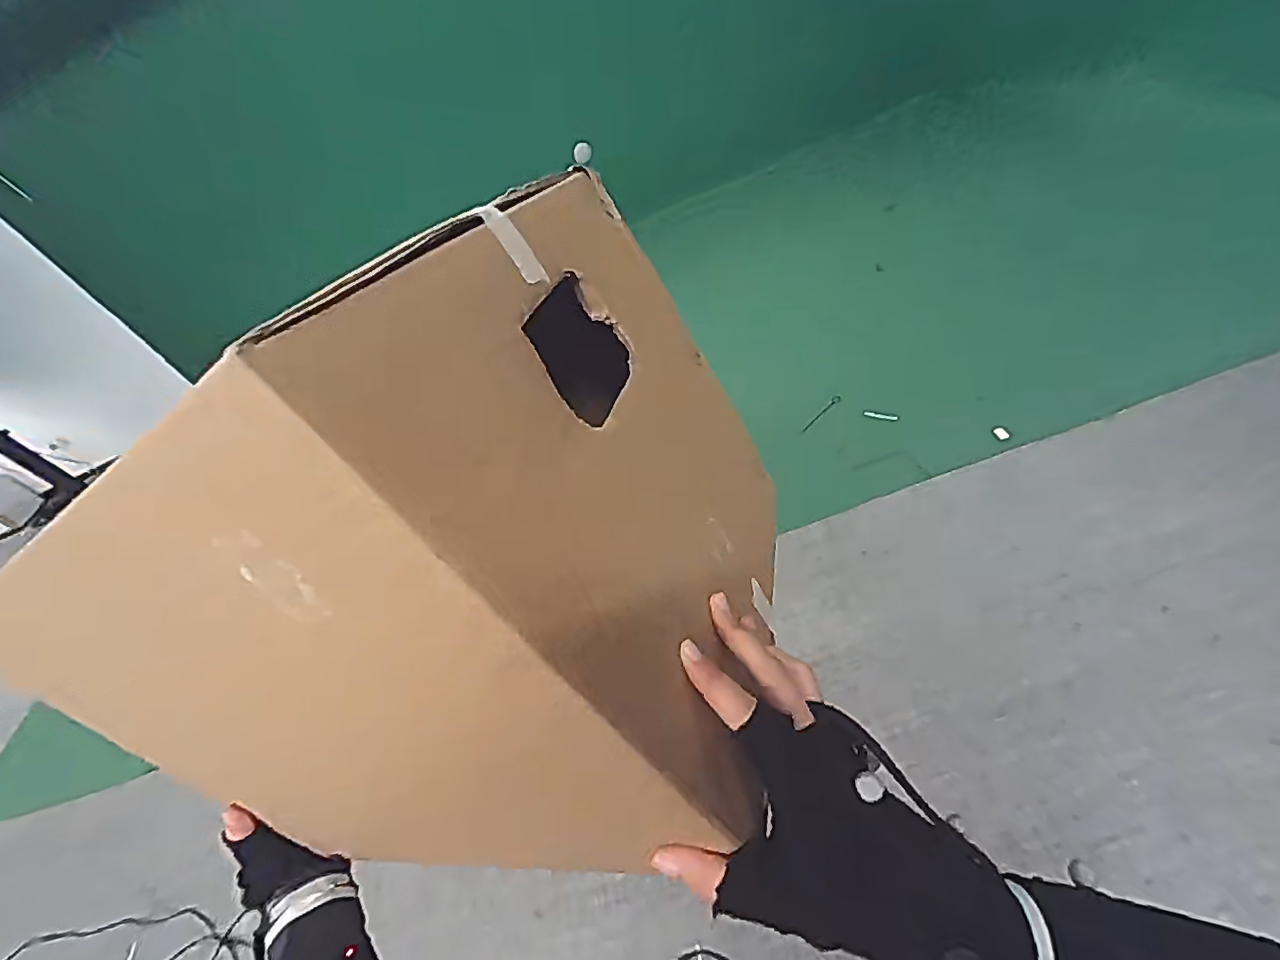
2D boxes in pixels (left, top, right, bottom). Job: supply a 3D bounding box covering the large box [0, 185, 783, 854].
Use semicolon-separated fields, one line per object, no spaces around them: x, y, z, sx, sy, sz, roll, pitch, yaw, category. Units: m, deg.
-0.138;0.051;0.420;0.408;0.320;0.320;-21;29;27;large box
